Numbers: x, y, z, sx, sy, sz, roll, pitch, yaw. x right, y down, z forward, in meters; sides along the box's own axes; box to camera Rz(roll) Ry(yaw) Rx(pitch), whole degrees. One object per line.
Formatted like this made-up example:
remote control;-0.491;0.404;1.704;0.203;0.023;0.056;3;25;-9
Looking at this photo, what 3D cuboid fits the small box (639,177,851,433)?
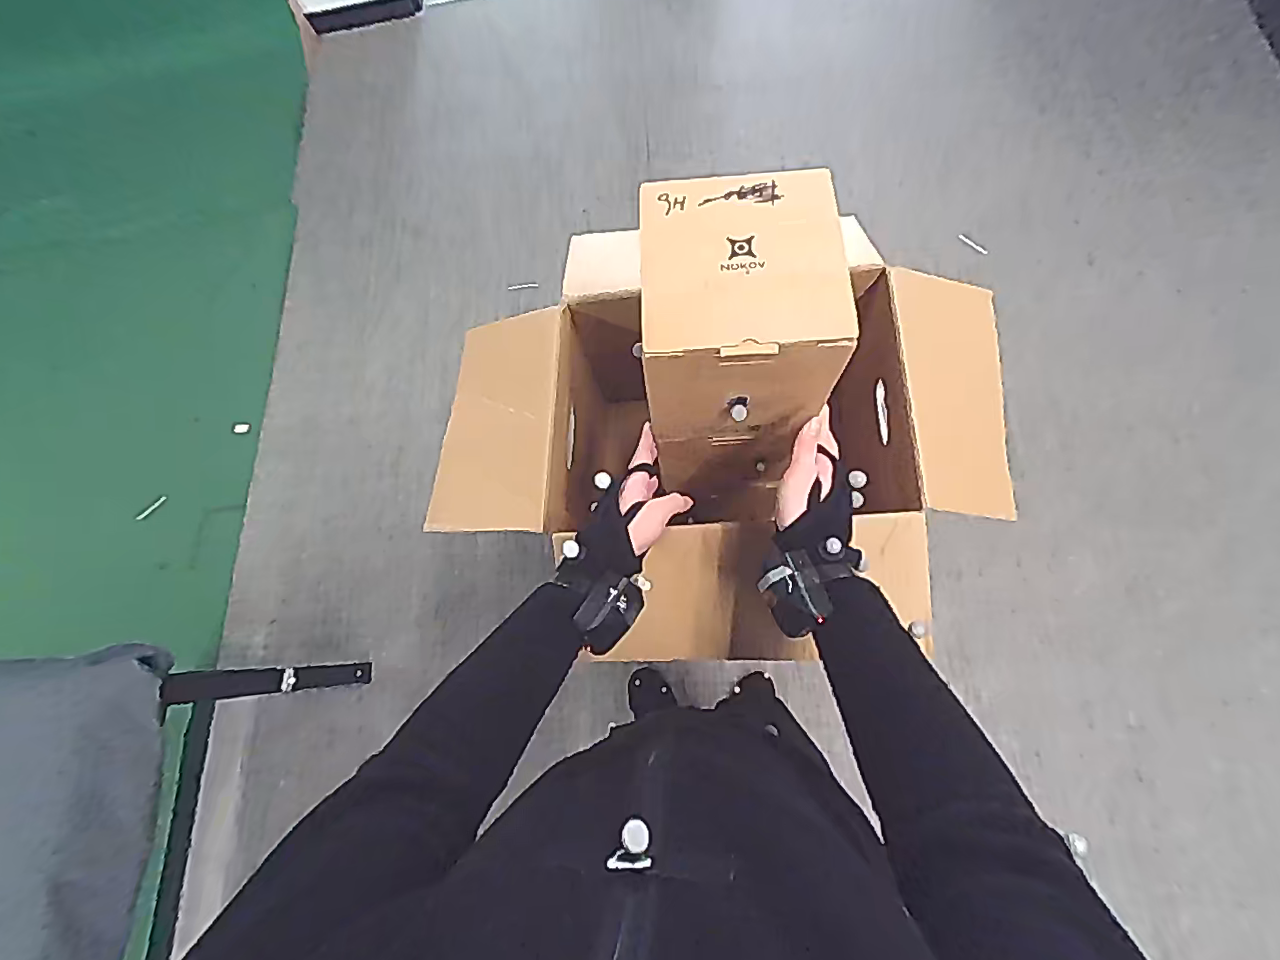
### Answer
small box;0.087;-0.150;0.518;0.168;0.176;0.179;-2;72;4
